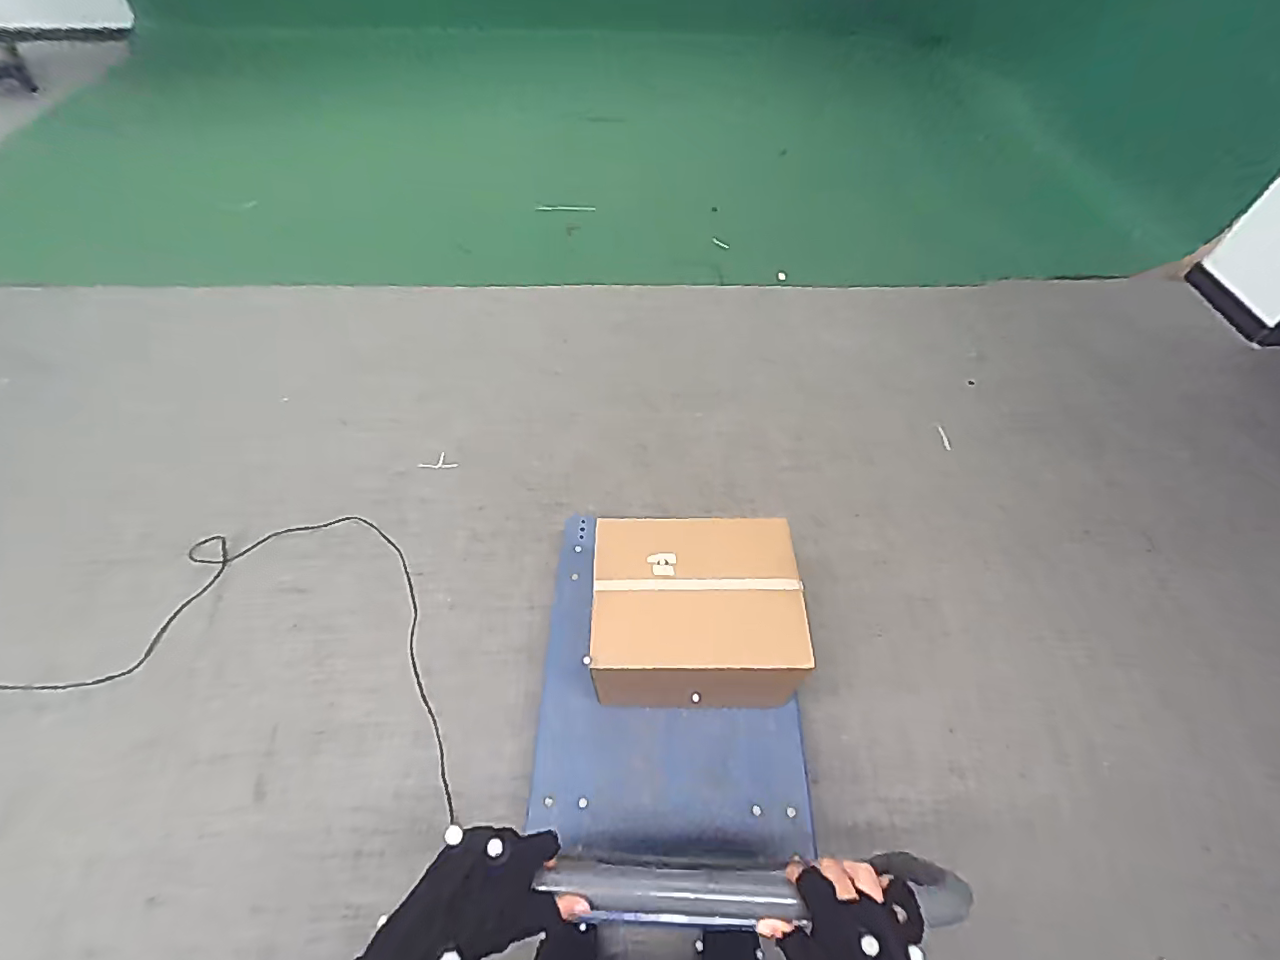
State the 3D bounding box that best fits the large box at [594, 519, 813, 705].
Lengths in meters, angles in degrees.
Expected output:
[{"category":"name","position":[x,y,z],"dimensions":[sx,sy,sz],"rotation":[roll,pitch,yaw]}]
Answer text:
[{"category":"large box","position":[0.115,0.296,1.179],"dimensions":[0.408,0.320,0.320],"rotation":[-1,54,0]}]
